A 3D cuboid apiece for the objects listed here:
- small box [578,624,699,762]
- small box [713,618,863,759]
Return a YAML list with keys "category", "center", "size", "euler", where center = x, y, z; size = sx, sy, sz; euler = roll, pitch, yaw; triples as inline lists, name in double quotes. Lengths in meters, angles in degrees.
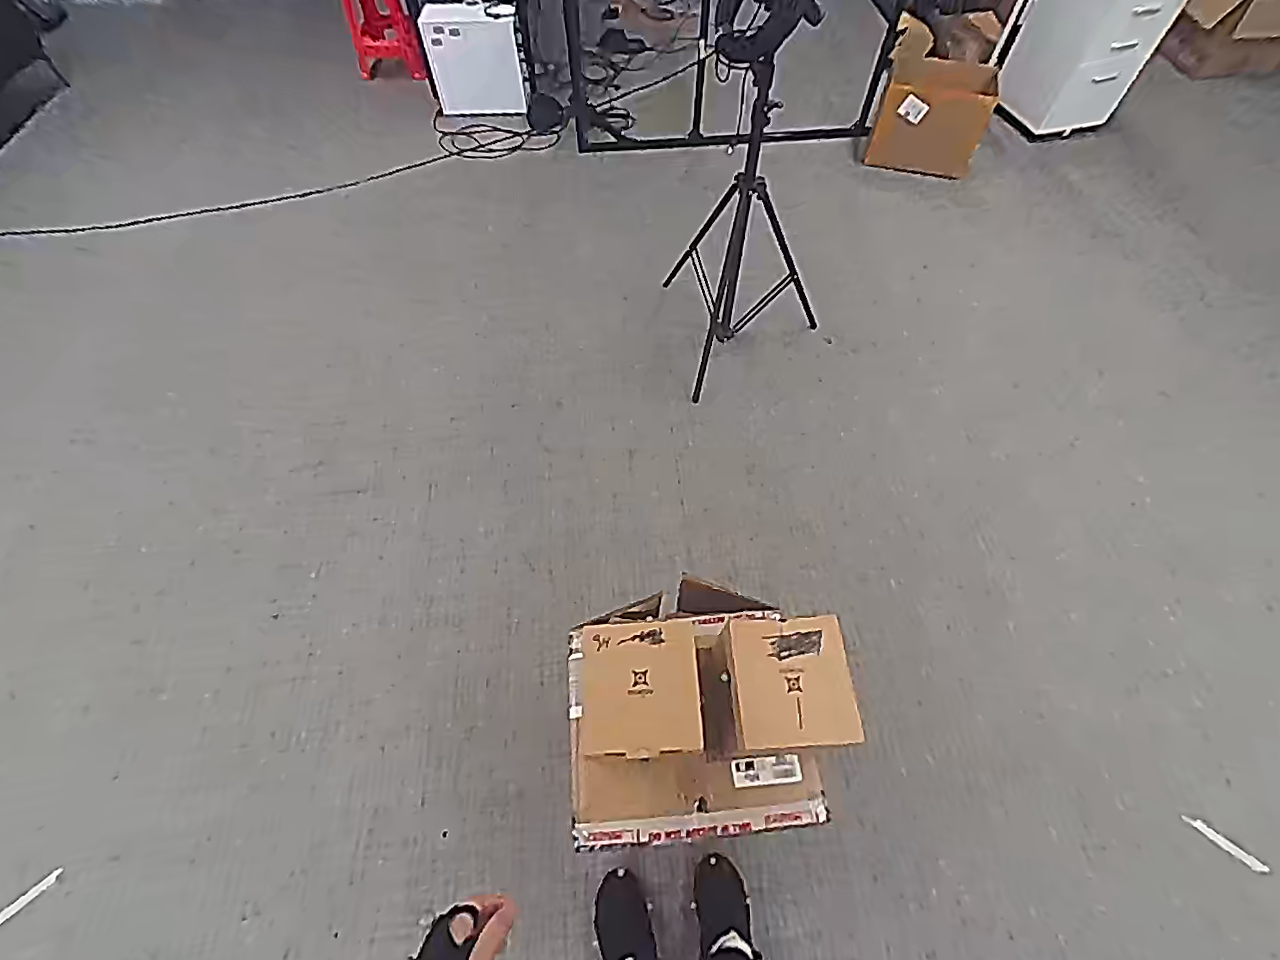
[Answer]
- category: "small box"
  center: [0.001, 0.329, 0.824]
  size: [0.168, 0.176, 0.179]
  euler: [-3, 61, 1]
- category: "small box"
  center: [0.211, 0.322, 0.828]
  size: [0.168, 0.176, 0.179]
  euler: [-2, 61, -3]
